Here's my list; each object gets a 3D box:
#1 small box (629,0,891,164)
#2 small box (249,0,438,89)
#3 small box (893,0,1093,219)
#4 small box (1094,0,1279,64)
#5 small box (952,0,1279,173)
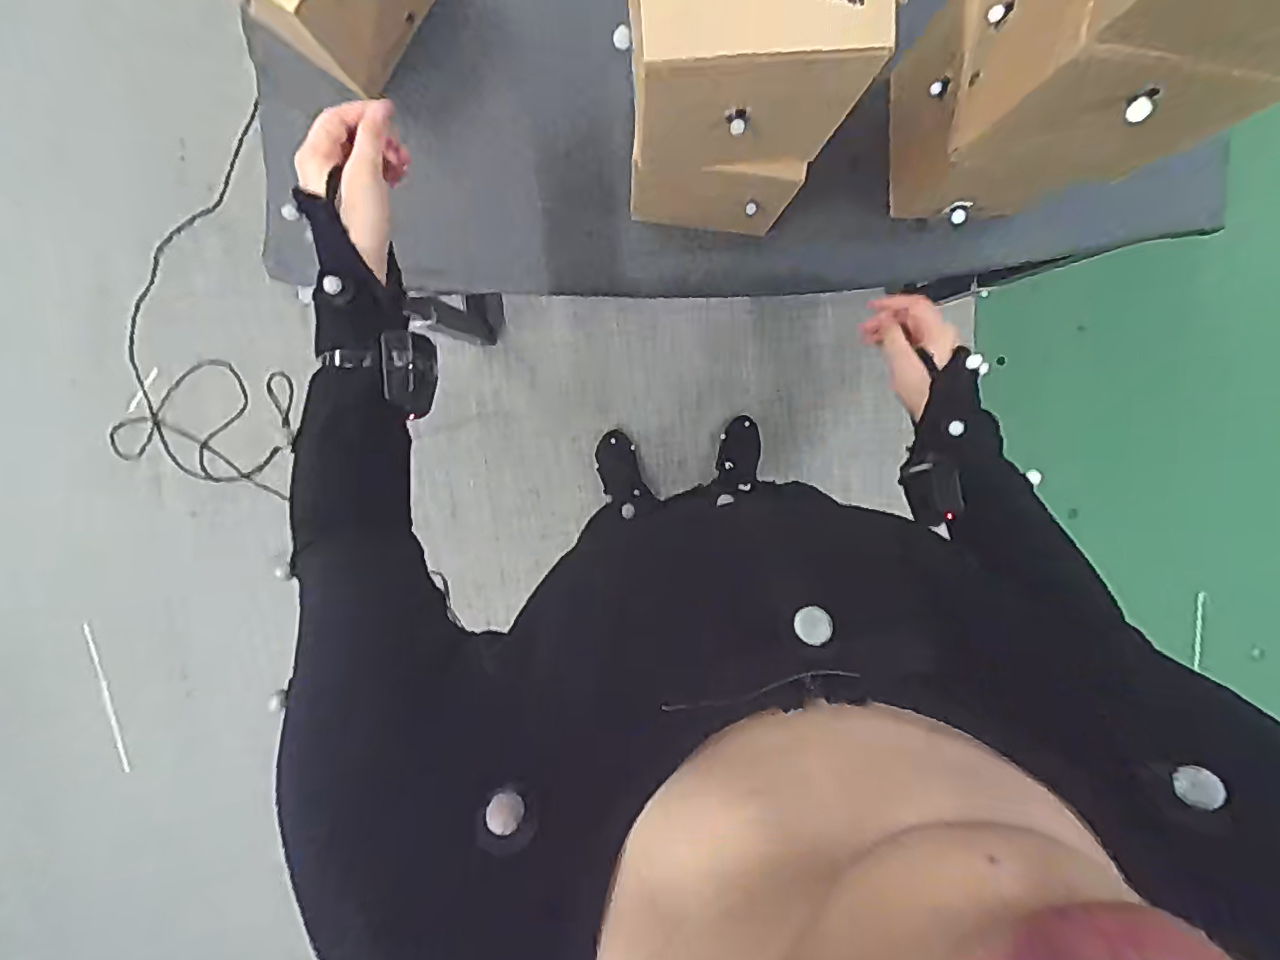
[{"bbox_3d":[0.081,-0.380,0.437,0.179,0.176,0.168,-3,98,1],"label":"small box"},{"bbox_3d":[-0.350,-0.573,0.572,0.179,0.176,0.168,36,97,-6],"label":"small box"},{"bbox_3d":[0.399,-0.413,0.600,0.168,0.176,0.179,-3,98,1],"label":"small box"},{"bbox_3d":[0.402,-0.357,0.278,0.179,0.176,0.168,9,97,0],"label":"small box"},{"bbox_3d":[0.399,-0.377,0.441,0.179,0.176,0.168,8,97,0],"label":"small box"}]
